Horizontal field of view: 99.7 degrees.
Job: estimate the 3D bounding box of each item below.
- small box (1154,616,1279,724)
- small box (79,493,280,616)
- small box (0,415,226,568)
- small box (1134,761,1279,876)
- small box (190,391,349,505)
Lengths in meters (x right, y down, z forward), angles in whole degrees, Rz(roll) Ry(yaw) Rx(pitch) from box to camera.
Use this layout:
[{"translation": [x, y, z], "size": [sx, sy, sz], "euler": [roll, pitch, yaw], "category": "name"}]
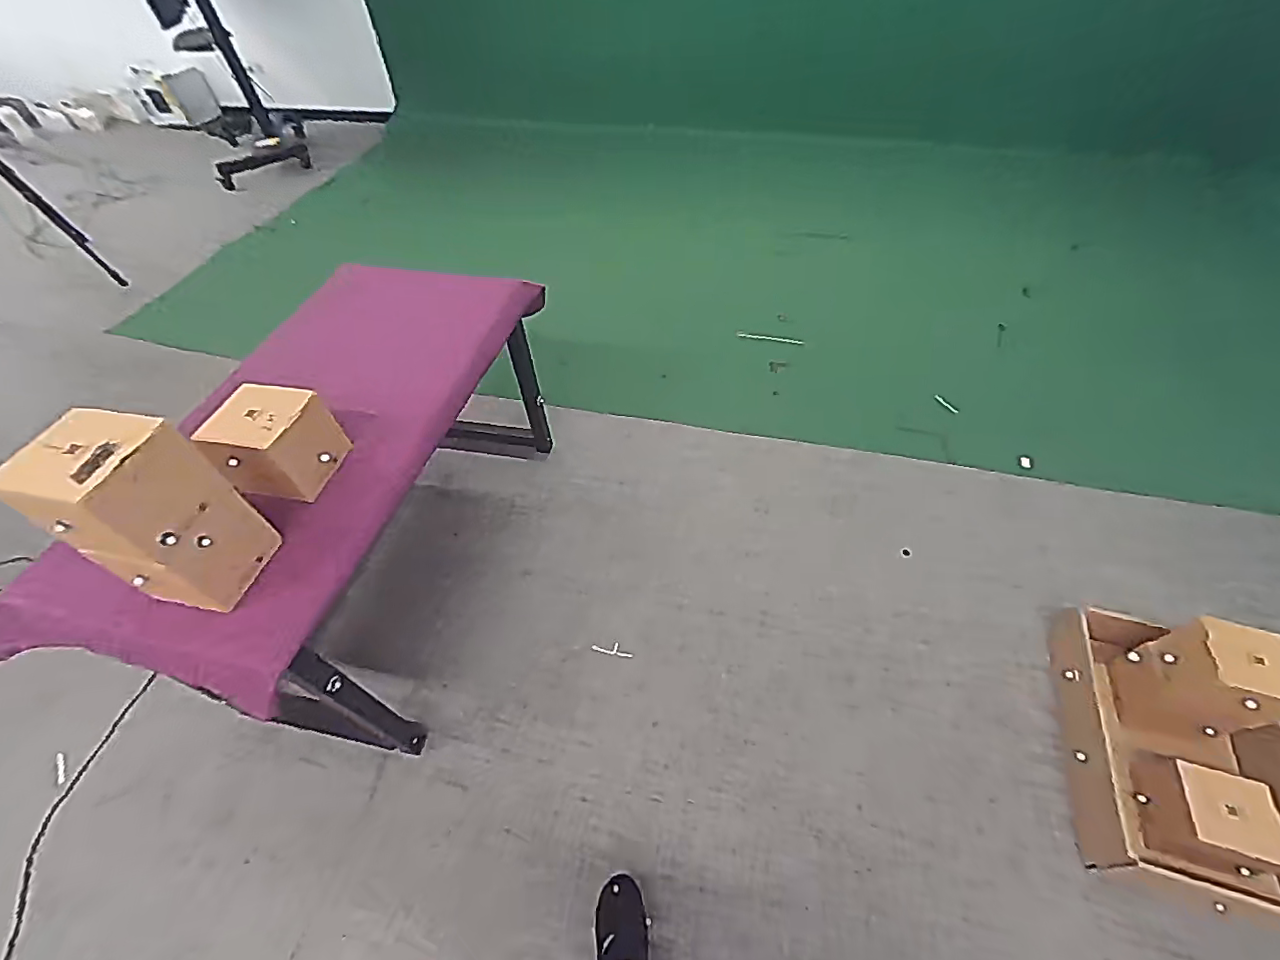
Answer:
[{"translation": [1.360, 0.444, 1.250], "size": [0.179, 0.176, 0.168], "euler": [13, 54, 13], "category": "small box"}, {"translation": [-0.811, 0.128, 0.975], "size": [0.179, 0.176, 0.168], "euler": [7, 51, 10], "category": "small box"}, {"translation": [-0.818, 0.022, 0.849], "size": [0.179, 0.176, 0.168], "euler": [7, 51, 10], "category": "small box"}, {"translation": [1.273, 0.758, 1.208], "size": [0.179, 0.176, 0.168], "euler": [12, 51, 13], "category": "small box"}, {"translation": [-0.759, -0.064, 1.130], "size": [0.179, 0.176, 0.168], "euler": [7, 52, 9], "category": "small box"}]
